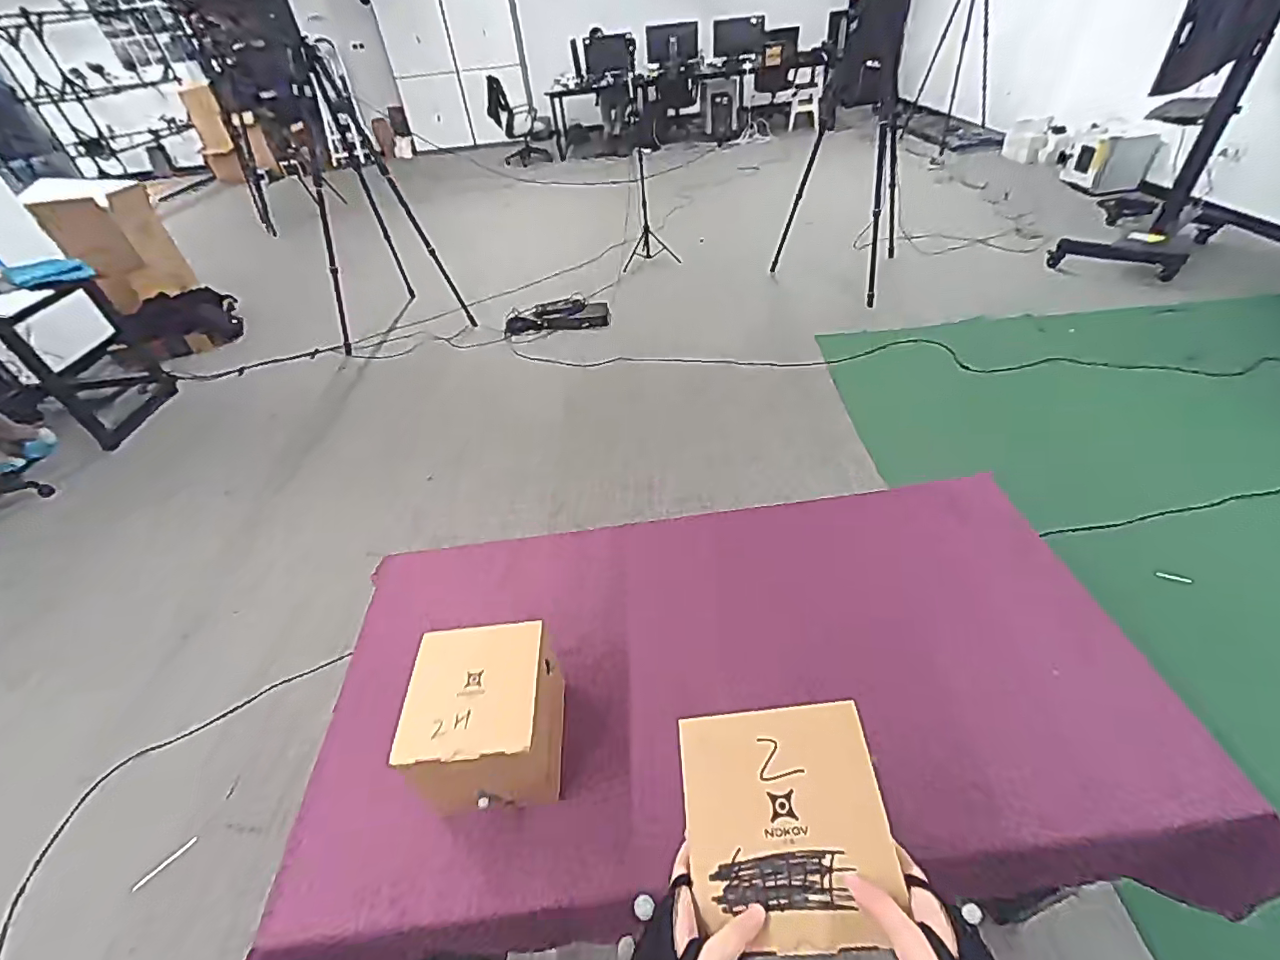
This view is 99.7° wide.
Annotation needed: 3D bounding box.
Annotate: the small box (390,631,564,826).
[{"bbox_3d":[-0.199,0.329,0.720,0.168,0.176,0.179,-7,40,1],"label":"small box"}]
